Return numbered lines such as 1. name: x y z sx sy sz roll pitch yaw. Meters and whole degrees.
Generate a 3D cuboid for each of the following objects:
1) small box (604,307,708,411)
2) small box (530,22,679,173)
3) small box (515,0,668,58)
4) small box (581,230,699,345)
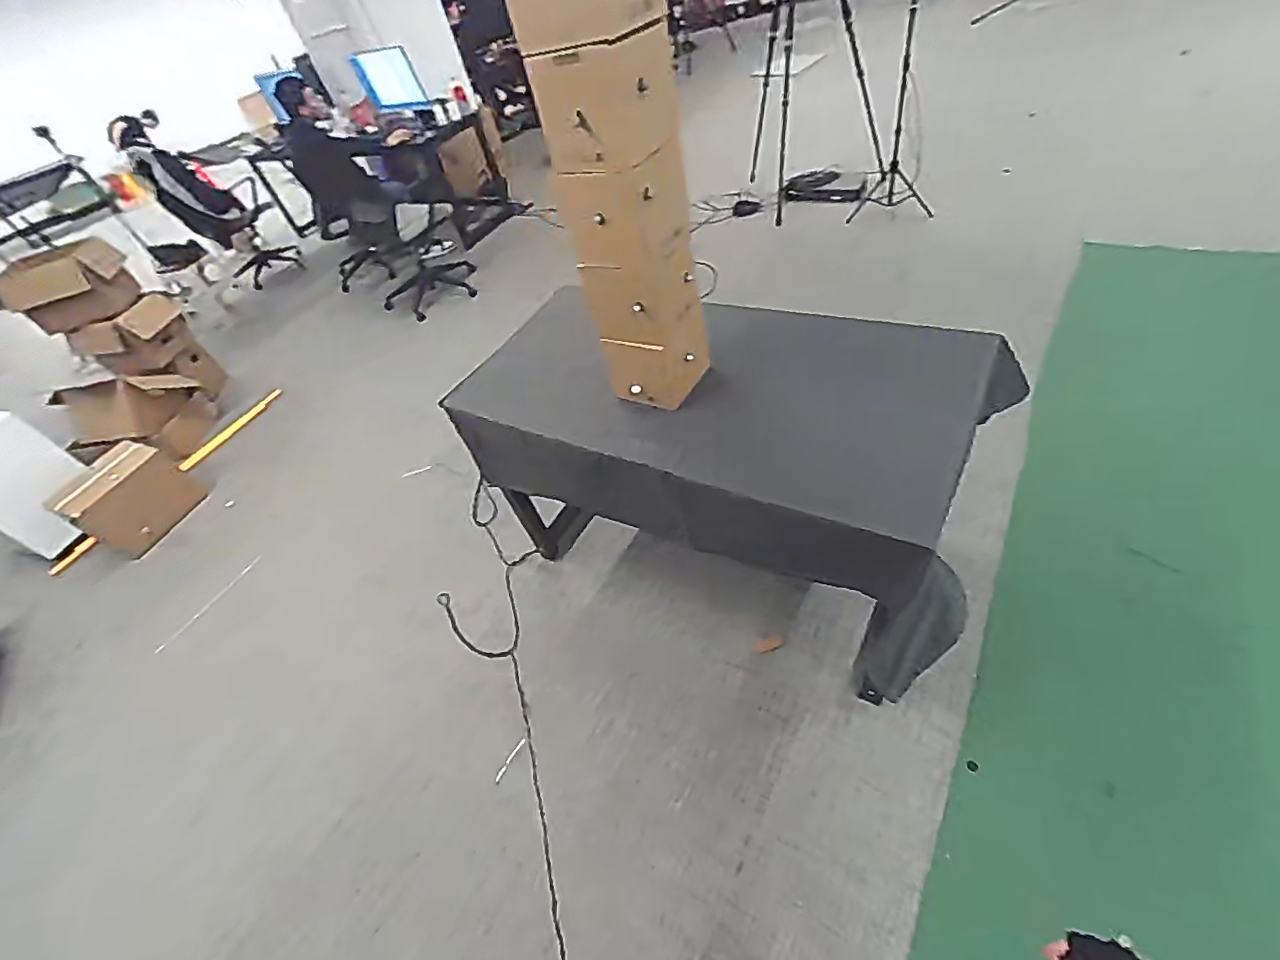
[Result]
1. small box: 0.046 -0.288 1.244 0.168 0.176 0.179 18 55 30
2. small box: -0.048 -0.638 0.915 0.168 0.176 0.179 16 53 29
3. small box: -0.081 -0.749 0.796 0.179 0.176 0.168 17 53 30
4. small box: 0.010 -0.401 1.132 0.179 0.176 0.168 16 53 29
